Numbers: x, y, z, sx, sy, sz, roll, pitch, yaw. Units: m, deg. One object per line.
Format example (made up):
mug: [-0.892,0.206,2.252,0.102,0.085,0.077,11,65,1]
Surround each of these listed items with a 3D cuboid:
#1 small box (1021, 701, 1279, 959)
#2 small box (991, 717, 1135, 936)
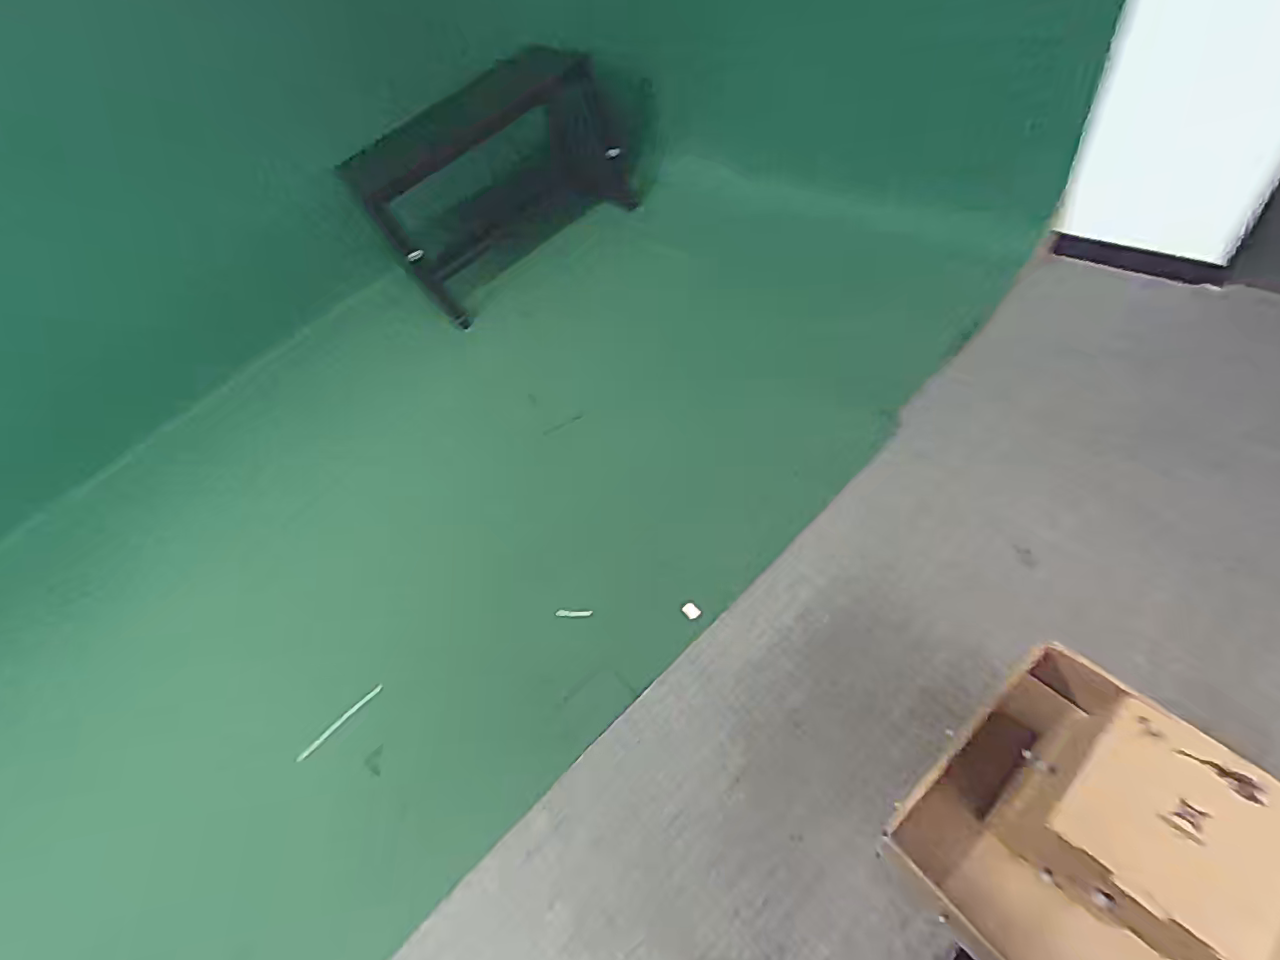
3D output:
small box: [0.549,0.379,0.583,0.179,0.176,0.168,-44,53,-11]
small box: [0.604,0.455,0.719,0.179,0.176,0.168,-44,53,-12]
